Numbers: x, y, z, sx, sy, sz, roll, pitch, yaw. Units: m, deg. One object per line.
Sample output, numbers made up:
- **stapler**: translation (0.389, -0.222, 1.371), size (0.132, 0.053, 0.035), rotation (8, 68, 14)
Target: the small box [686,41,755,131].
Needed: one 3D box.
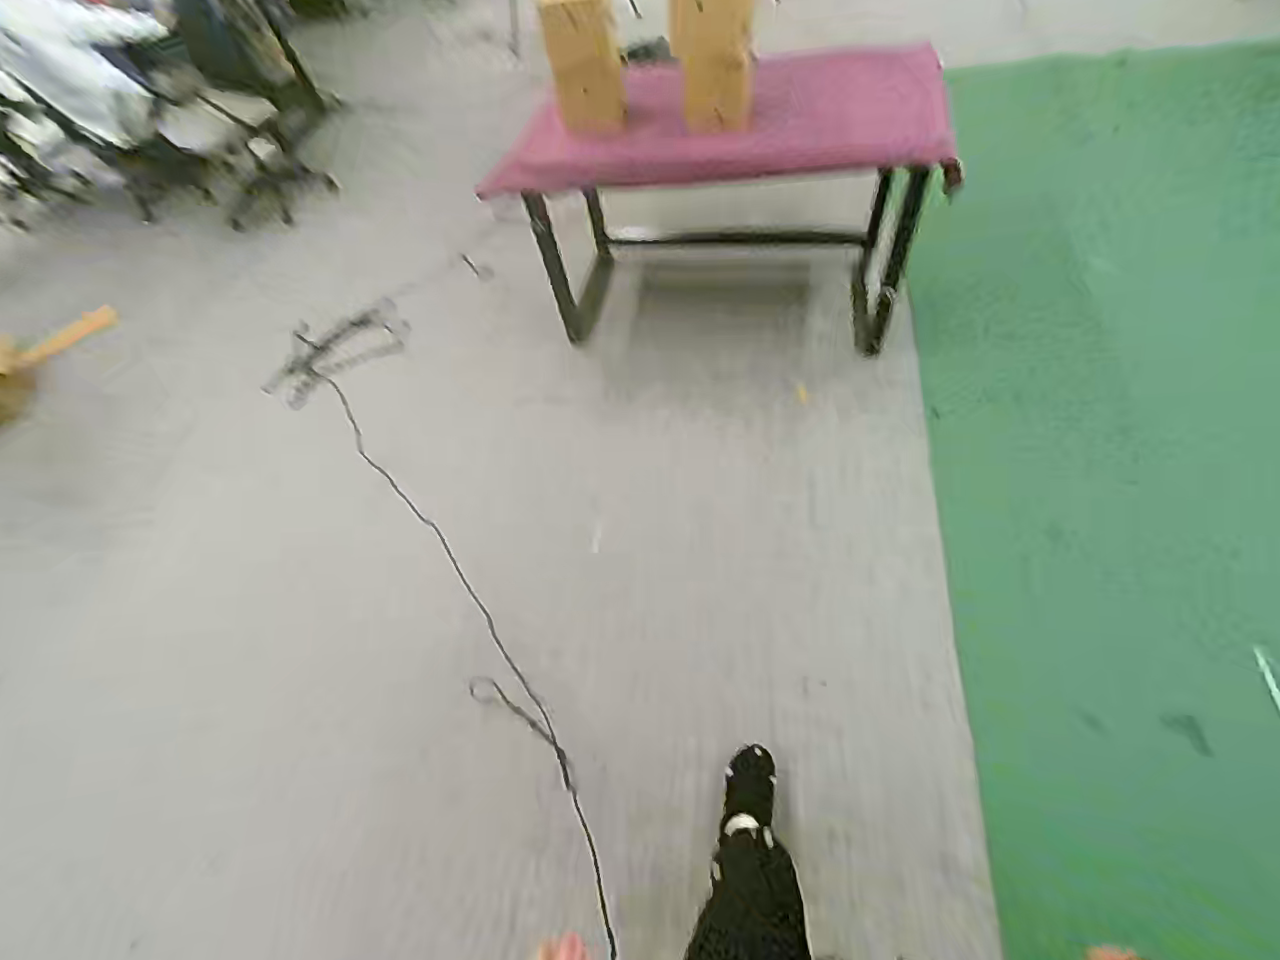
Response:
- **small box**: translation (0.228, -1.108, 1.514), size (0.168, 0.176, 0.179), rotation (6, 58, 14)

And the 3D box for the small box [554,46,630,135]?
- **small box**: translation (-0.136, -1.152, 1.607), size (0.179, 0.176, 0.168), rotation (1, 58, 10)

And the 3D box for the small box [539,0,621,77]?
- **small box**: translation (-0.155, -1.236, 1.470), size (0.179, 0.176, 0.168), rotation (-1, 58, 10)

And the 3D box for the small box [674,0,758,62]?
- **small box**: translation (0.193, -1.198, 1.380), size (0.179, 0.176, 0.168), rotation (16, 61, 19)
